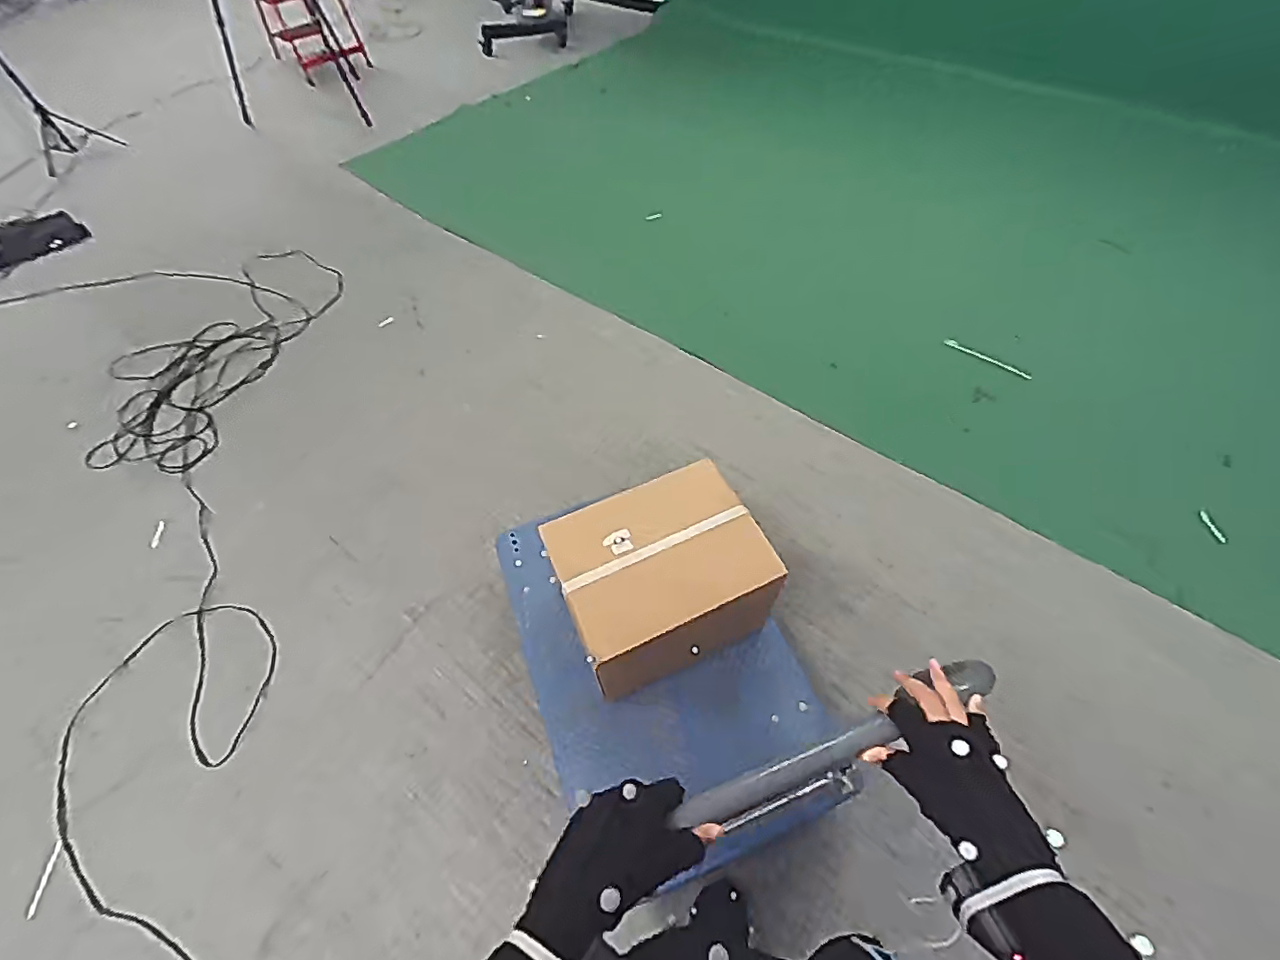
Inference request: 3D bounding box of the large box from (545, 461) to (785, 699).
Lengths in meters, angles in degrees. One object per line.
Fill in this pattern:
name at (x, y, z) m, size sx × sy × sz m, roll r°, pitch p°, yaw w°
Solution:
large box at (0.053, 0.229, 1.213) m, size 0.408 × 0.320 × 0.320 m, roll -25°, pitch 58°, yaw -12°
